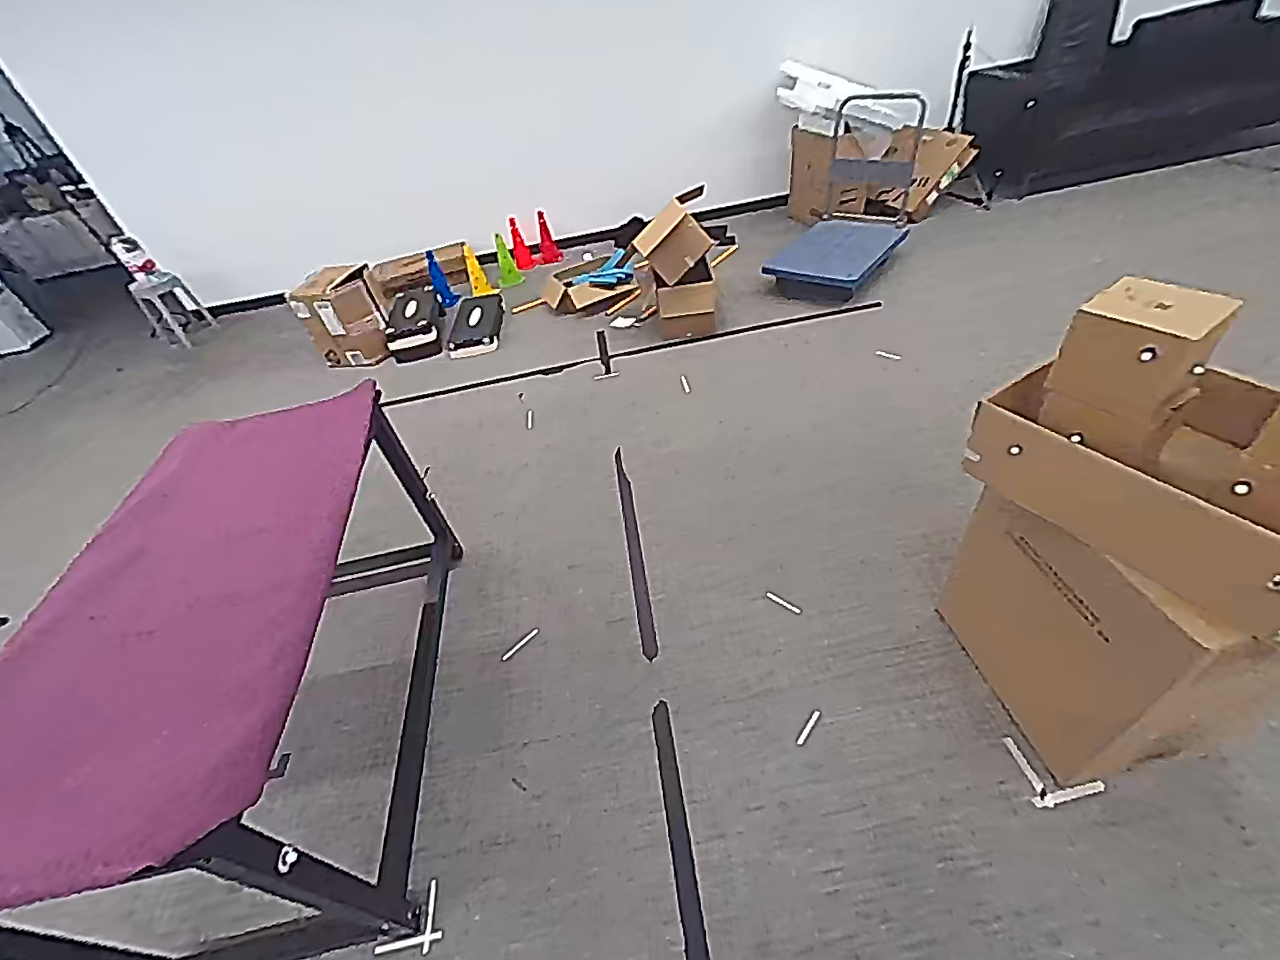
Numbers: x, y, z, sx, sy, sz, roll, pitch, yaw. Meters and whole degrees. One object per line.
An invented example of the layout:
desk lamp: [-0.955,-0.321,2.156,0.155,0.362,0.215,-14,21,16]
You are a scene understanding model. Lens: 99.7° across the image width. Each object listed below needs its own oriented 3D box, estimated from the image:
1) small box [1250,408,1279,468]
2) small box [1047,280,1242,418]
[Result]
small box: [1.066,-0.085,0.776,0.168,0.176,0.179,-23,42,-12]
small box: [0.896,-0.233,0.979,0.168,0.176,0.179,-30,44,-19]
